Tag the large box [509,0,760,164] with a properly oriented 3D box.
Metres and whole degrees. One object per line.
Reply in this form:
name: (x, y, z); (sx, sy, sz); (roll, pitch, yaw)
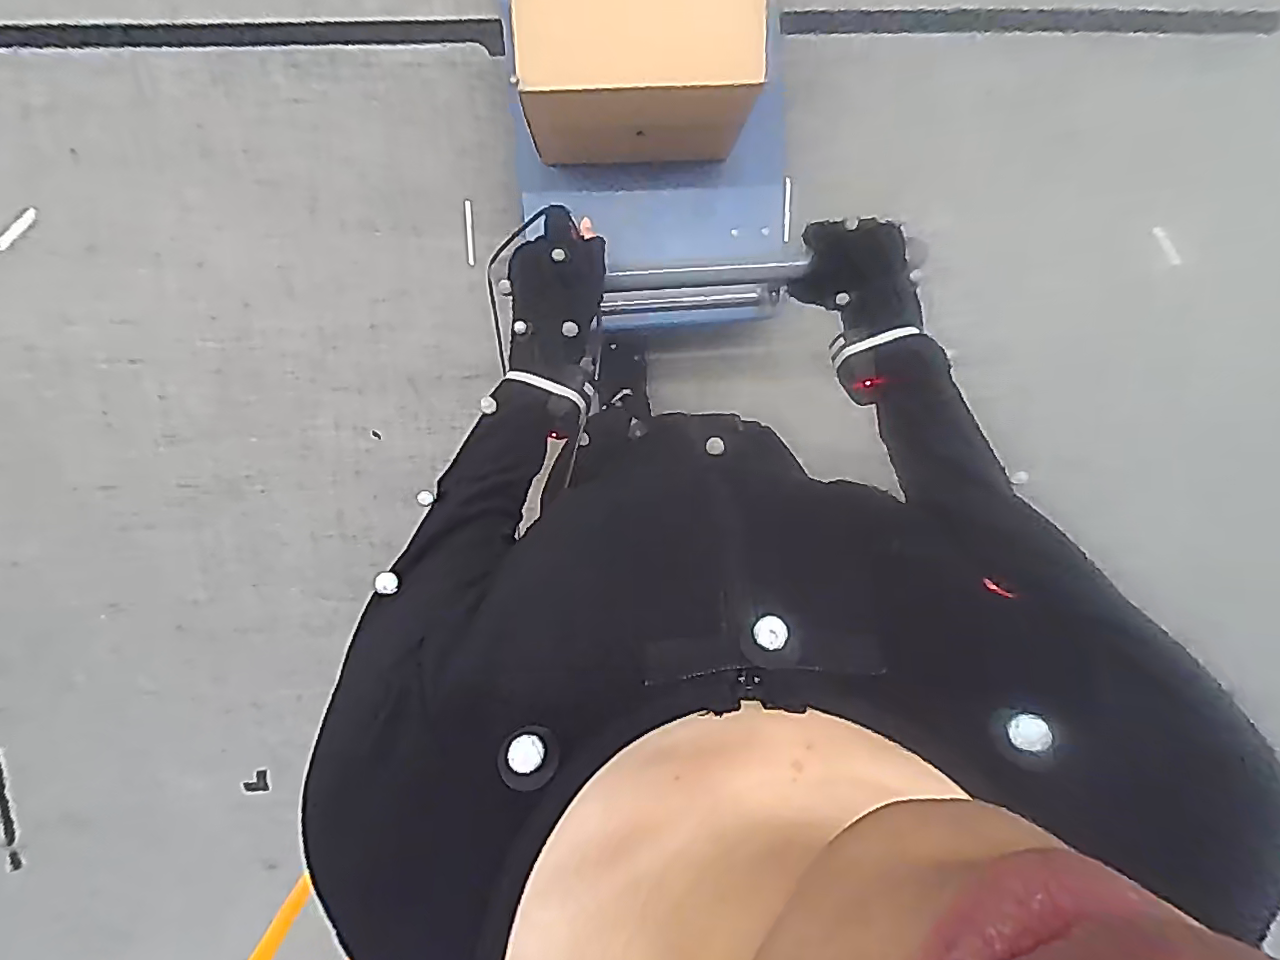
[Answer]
large box: (-0.014, -0.812, 0.997); (0.408, 0.320, 0.320); (-3, 101, -1)
